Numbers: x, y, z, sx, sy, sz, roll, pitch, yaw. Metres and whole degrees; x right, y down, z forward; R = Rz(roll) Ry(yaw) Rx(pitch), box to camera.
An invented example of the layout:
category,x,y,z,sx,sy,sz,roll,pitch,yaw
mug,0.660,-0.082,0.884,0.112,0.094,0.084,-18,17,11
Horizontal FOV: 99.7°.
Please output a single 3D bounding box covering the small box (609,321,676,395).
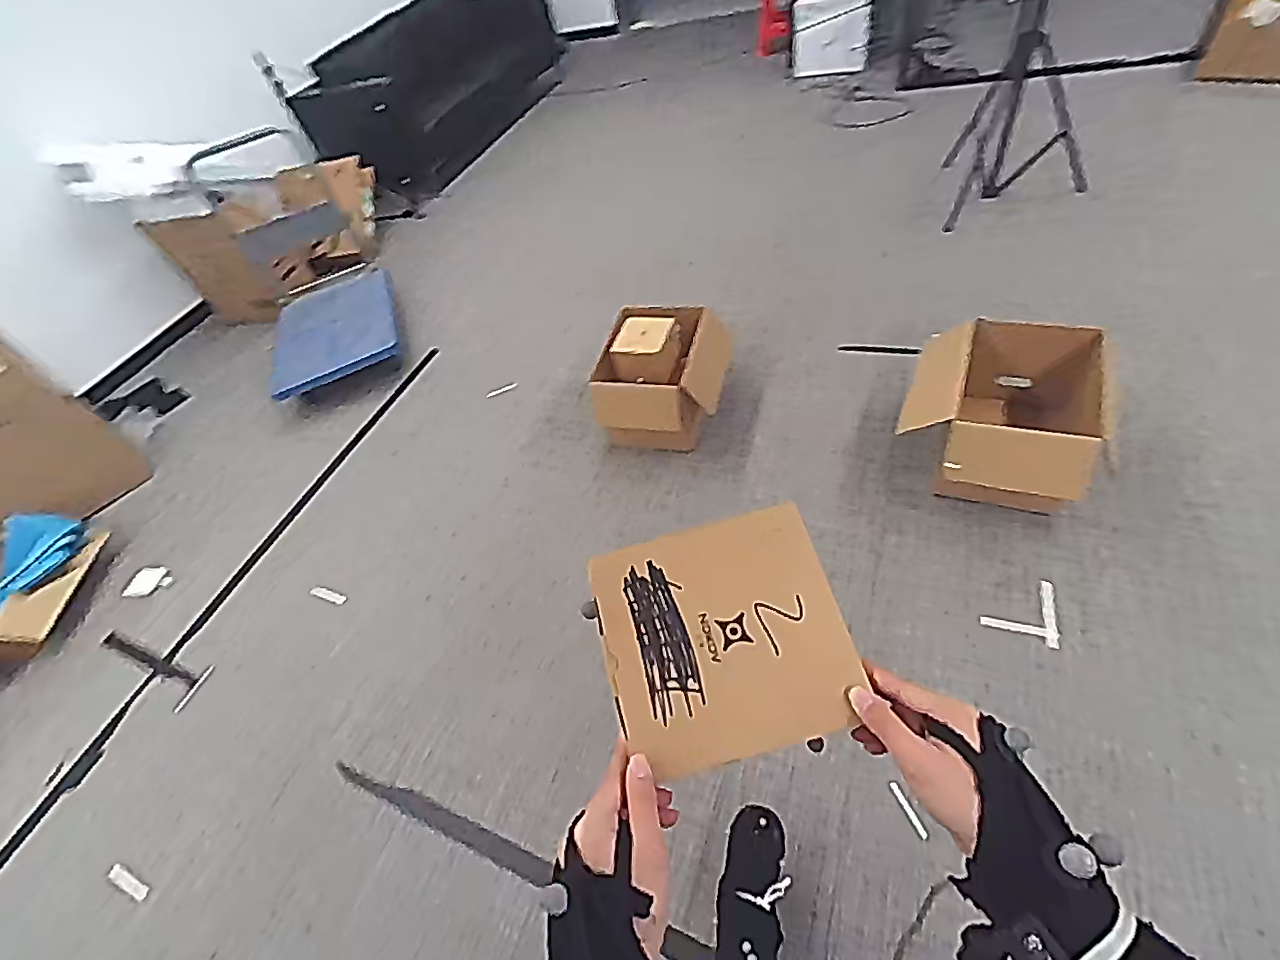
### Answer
category,x,y,z,sx,sy,sz,roll,pitch,yaw
small box,0.015,-0.411,1.813,0.168,0.176,0.179,7,55,22
